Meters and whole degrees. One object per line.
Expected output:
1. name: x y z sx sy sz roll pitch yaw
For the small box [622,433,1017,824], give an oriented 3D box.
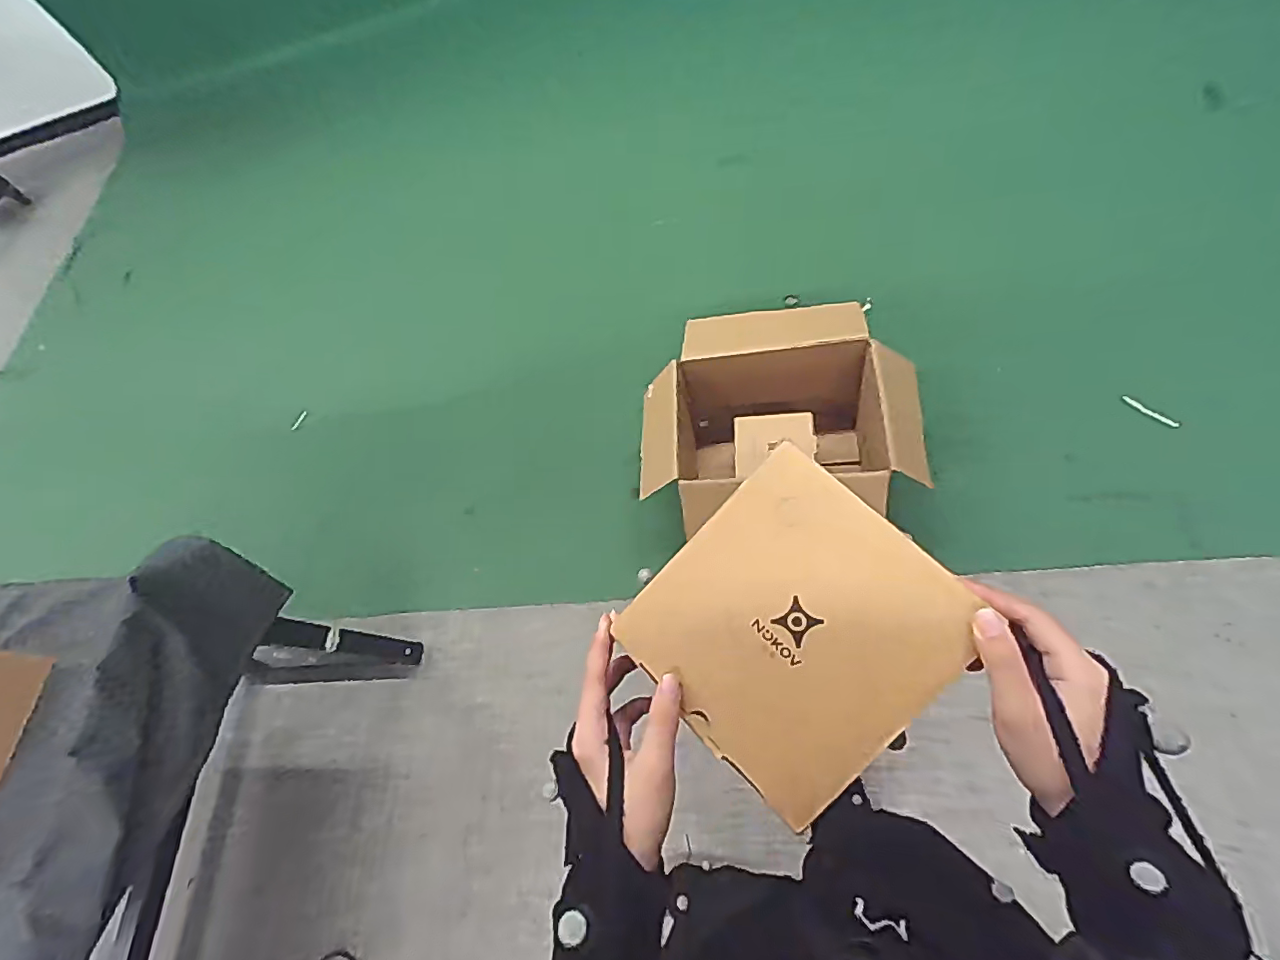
1. small box: 0.117 0.095 0.405 0.168 0.176 0.179 44 94 16
